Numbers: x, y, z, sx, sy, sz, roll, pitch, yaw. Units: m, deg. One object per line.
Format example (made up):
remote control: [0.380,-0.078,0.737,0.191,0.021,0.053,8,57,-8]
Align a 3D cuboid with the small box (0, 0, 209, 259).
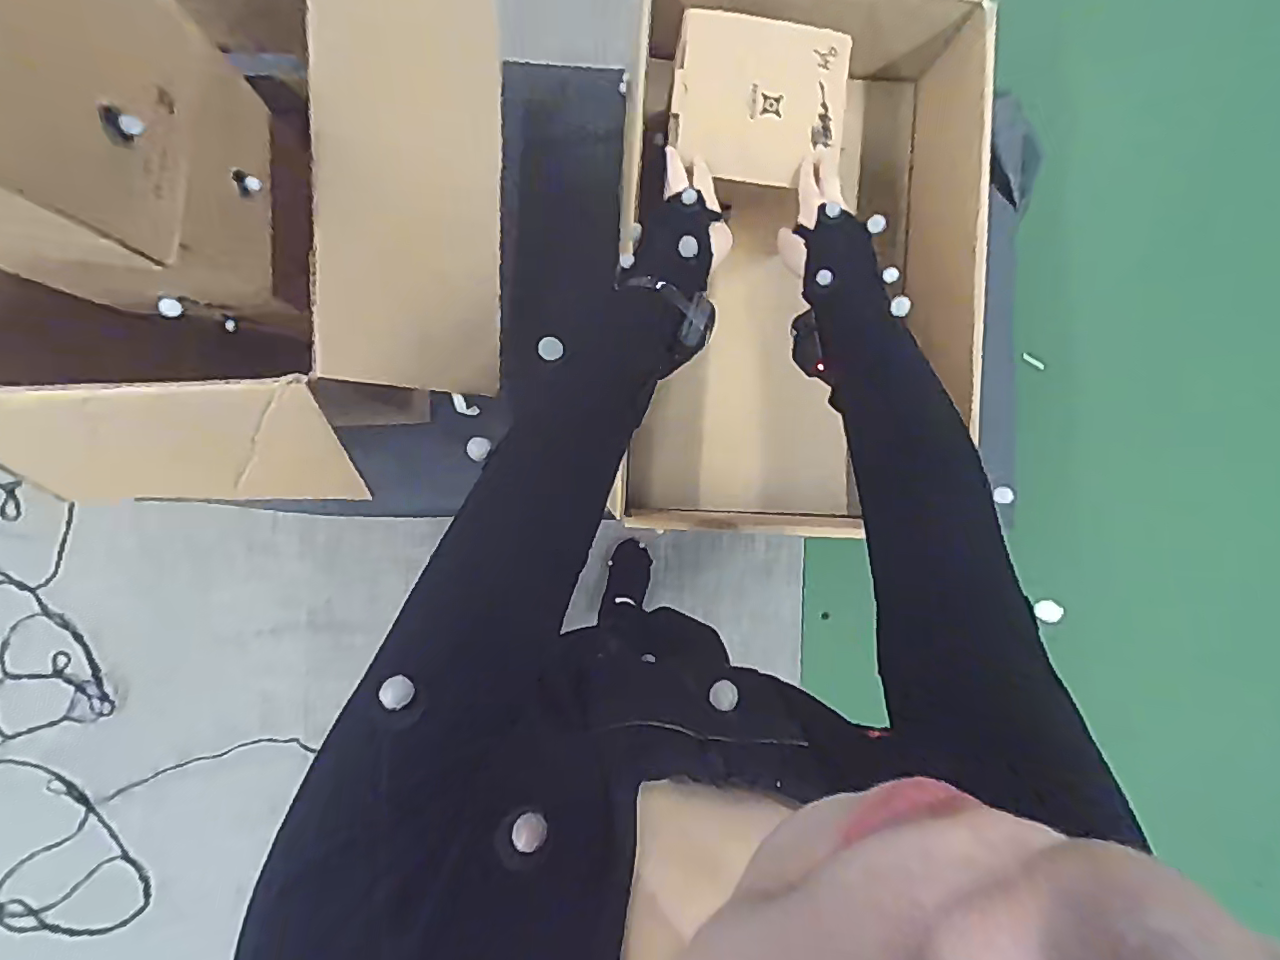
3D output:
small box: [-0.390,-0.239,0.292,0.179,0.176,0.168,7,90,-6]
